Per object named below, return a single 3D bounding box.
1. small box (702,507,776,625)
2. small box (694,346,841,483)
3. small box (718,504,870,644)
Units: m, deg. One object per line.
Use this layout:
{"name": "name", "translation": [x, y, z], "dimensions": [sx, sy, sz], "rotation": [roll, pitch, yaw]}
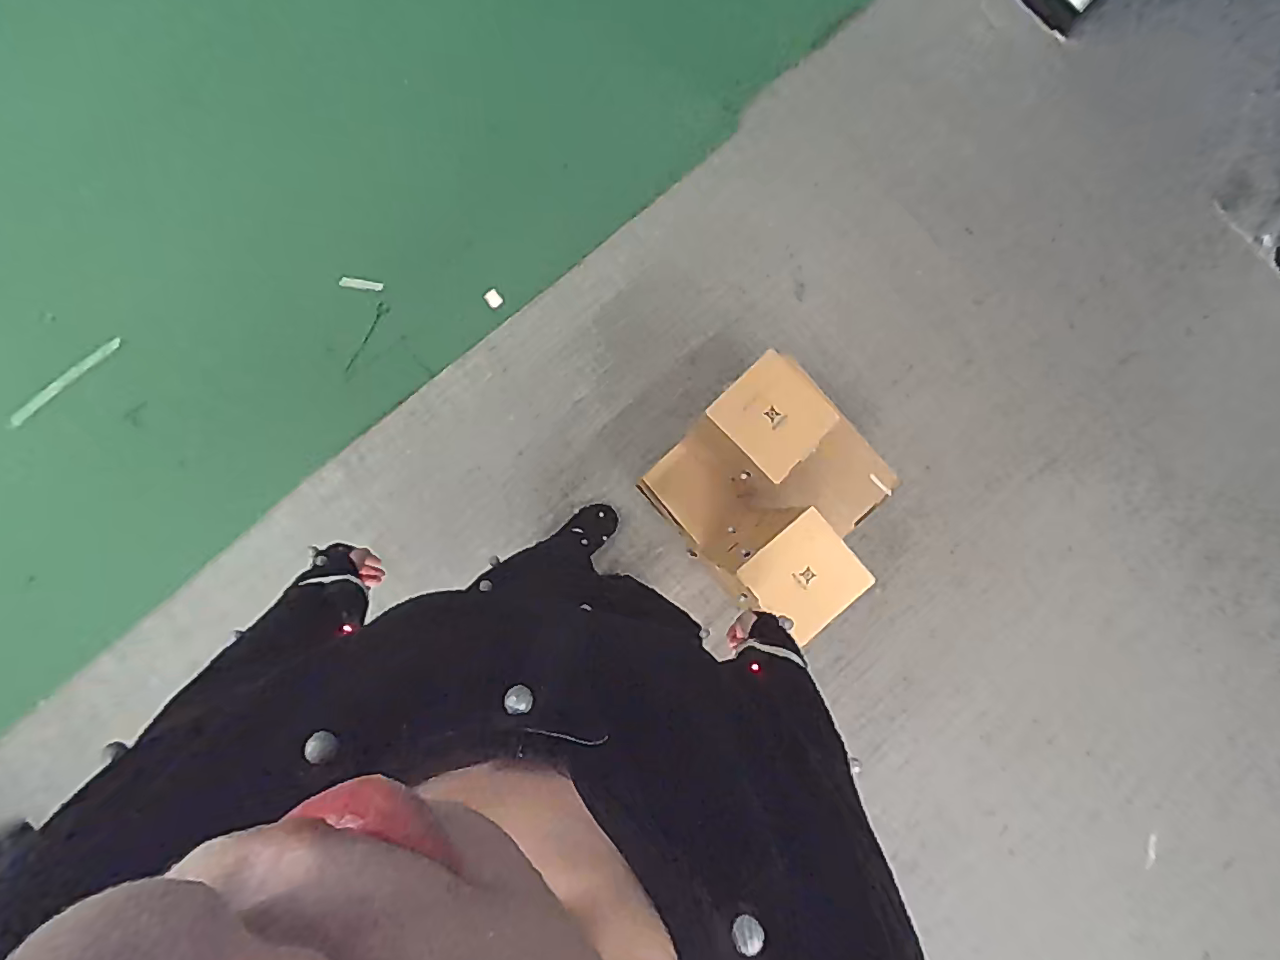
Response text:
{"name": "small box", "translation": [0.252, 0.169, 1.131], "dimensions": [0.168, 0.176, 0.179], "rotation": [-39, 89, -5]}
{"name": "small box", "translation": [0.221, -0.107, 0.987], "dimensions": [0.168, 0.176, 0.179], "rotation": [-42, 88, -6]}
{"name": "small box", "translation": [0.262, 0.157, 0.968], "dimensions": [0.179, 0.176, 0.168], "rotation": [-39, 90, -3]}
